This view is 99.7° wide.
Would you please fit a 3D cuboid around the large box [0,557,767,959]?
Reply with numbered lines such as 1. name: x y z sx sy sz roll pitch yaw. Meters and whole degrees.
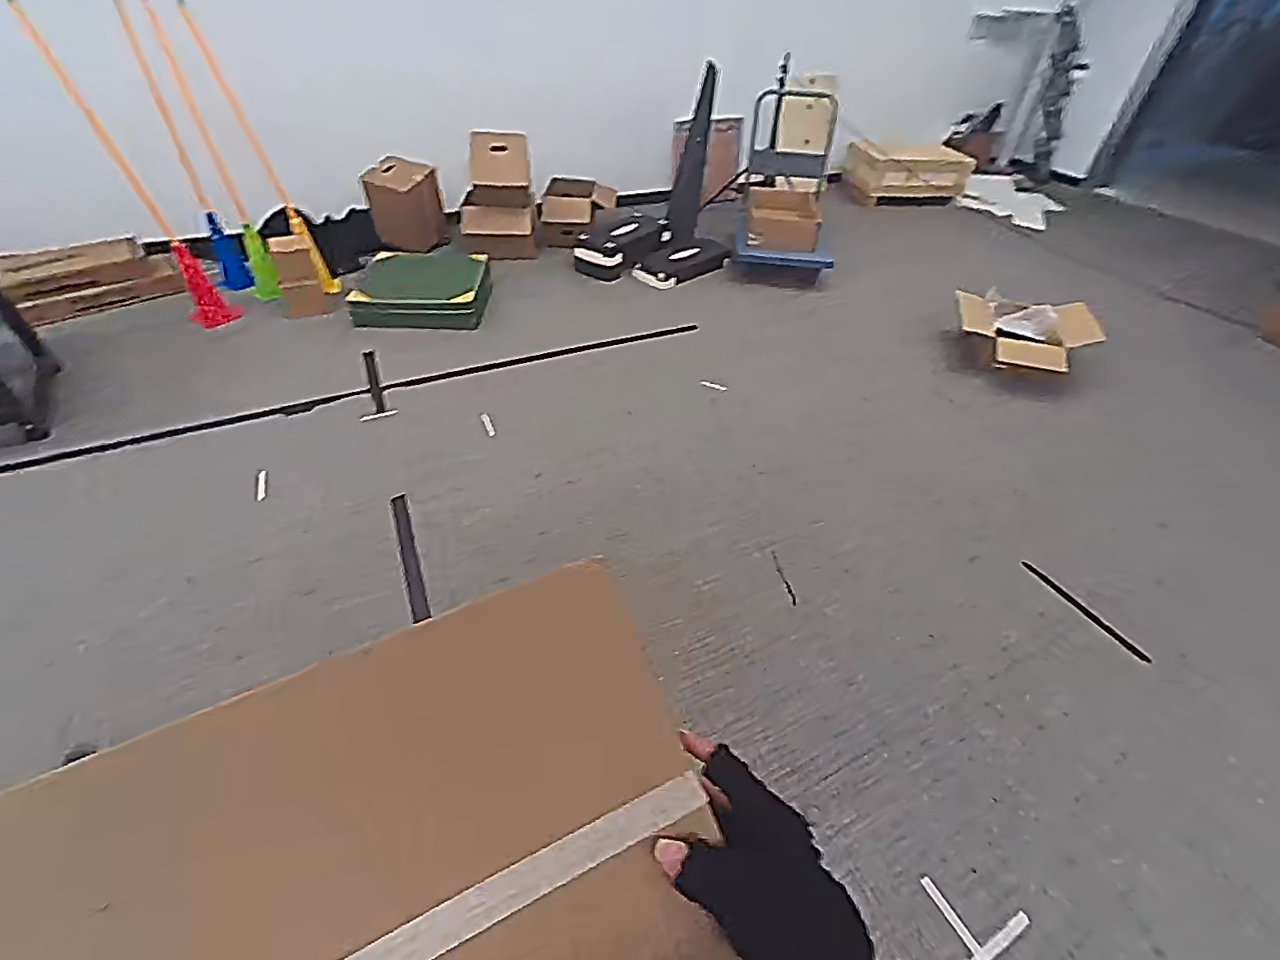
1. large box: -0.175 0.302 0.429 0.408 0.320 0.320 -21 78 -16
